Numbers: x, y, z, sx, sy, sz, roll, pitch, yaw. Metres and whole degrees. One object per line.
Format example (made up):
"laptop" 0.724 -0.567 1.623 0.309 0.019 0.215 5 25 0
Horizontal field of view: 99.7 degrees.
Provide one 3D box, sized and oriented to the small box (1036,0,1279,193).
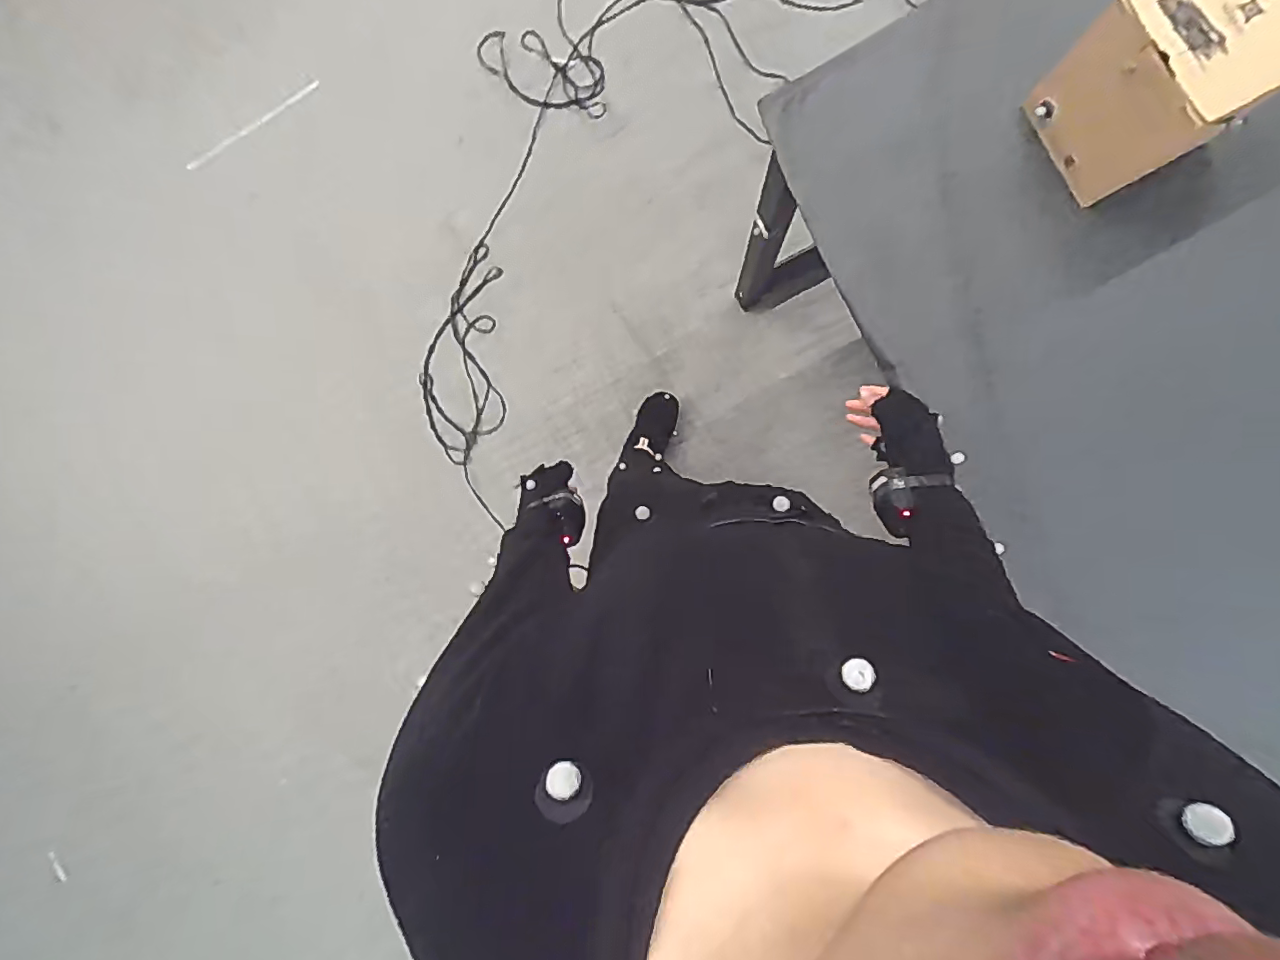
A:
"small box" 0.605 -0.475 0.620 0.179 0.176 0.168 -29 88 4
